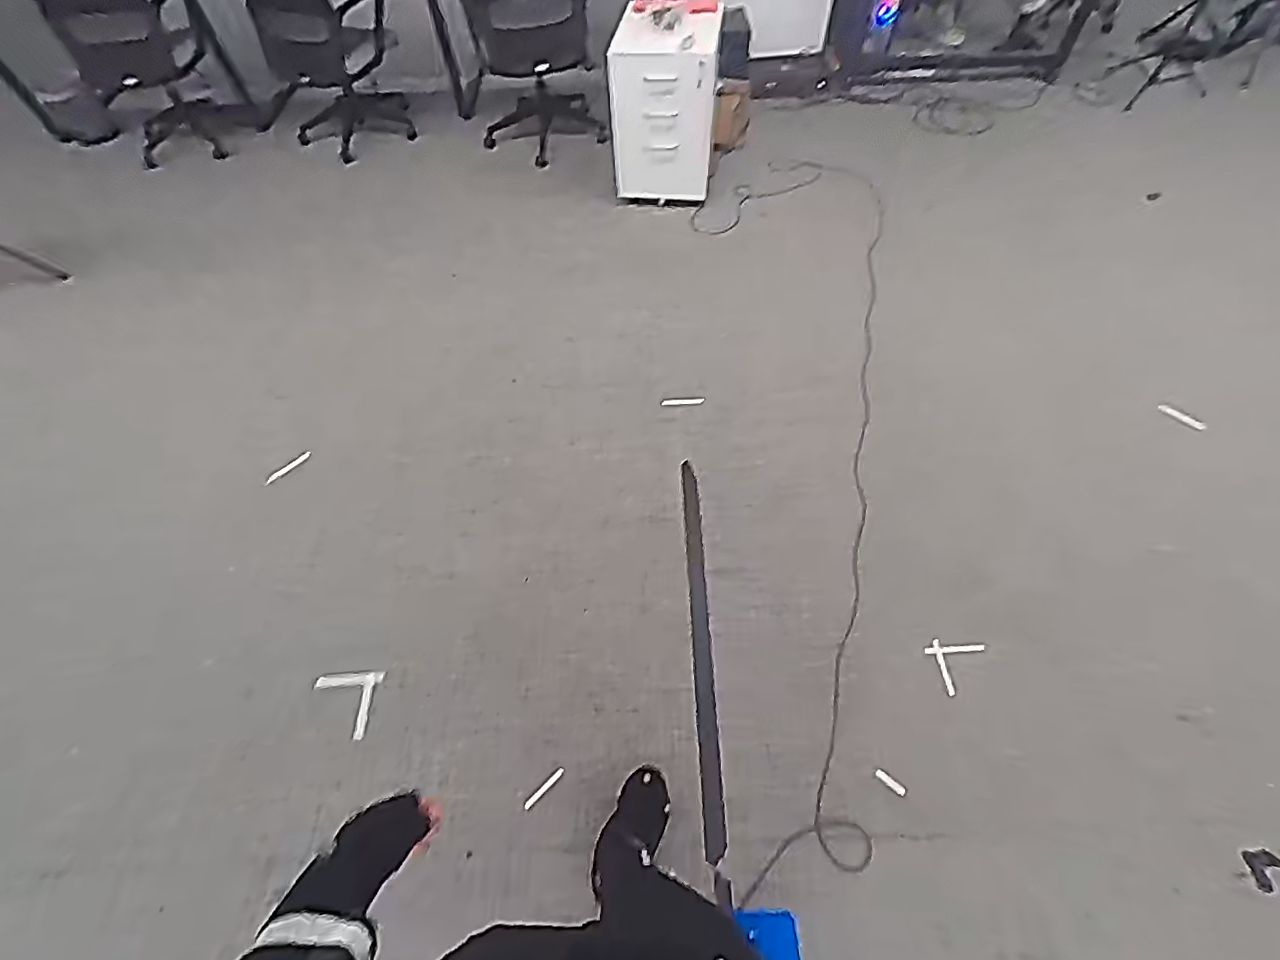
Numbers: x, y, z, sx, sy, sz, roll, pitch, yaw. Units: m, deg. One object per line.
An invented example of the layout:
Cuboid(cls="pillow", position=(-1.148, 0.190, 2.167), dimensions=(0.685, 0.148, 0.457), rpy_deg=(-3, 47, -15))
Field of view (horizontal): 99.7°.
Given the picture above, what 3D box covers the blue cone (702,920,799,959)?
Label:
Cuboid(cls="blue cone", position=(0.212, 0.870, 0.891), dimensions=(0.193, 0.380, 0.192), rpy_deg=(-3, 56, 0))
